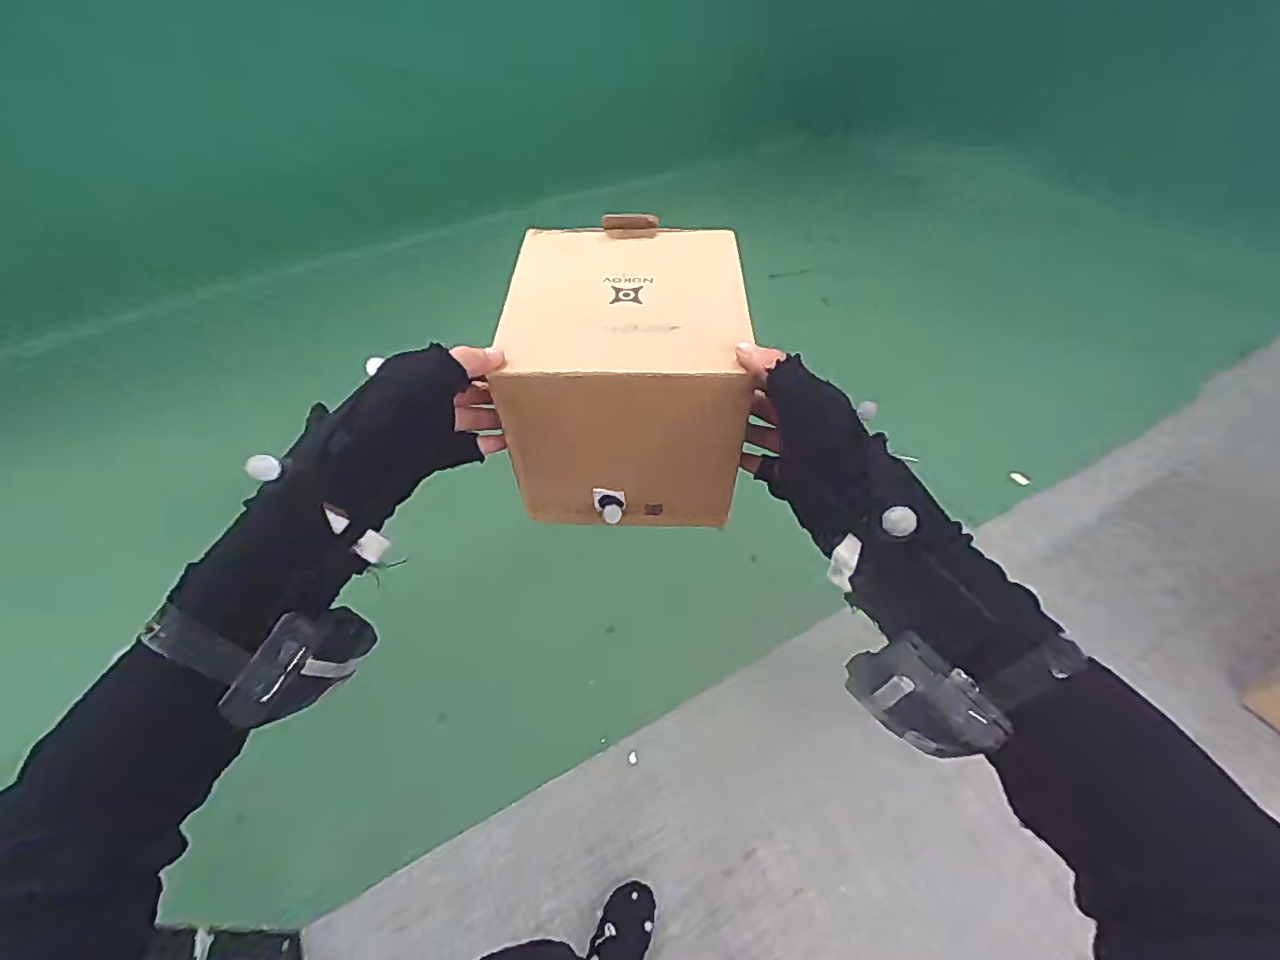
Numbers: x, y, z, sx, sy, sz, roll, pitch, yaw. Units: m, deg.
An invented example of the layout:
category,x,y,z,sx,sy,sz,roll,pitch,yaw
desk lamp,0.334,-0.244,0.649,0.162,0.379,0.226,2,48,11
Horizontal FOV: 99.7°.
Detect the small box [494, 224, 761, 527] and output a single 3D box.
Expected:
category,x,y,z,sx,sy,sz,roll,pitch,yaw
small box,-0.004,-0.082,0.438,0.168,0.176,0.179,2,52,2
